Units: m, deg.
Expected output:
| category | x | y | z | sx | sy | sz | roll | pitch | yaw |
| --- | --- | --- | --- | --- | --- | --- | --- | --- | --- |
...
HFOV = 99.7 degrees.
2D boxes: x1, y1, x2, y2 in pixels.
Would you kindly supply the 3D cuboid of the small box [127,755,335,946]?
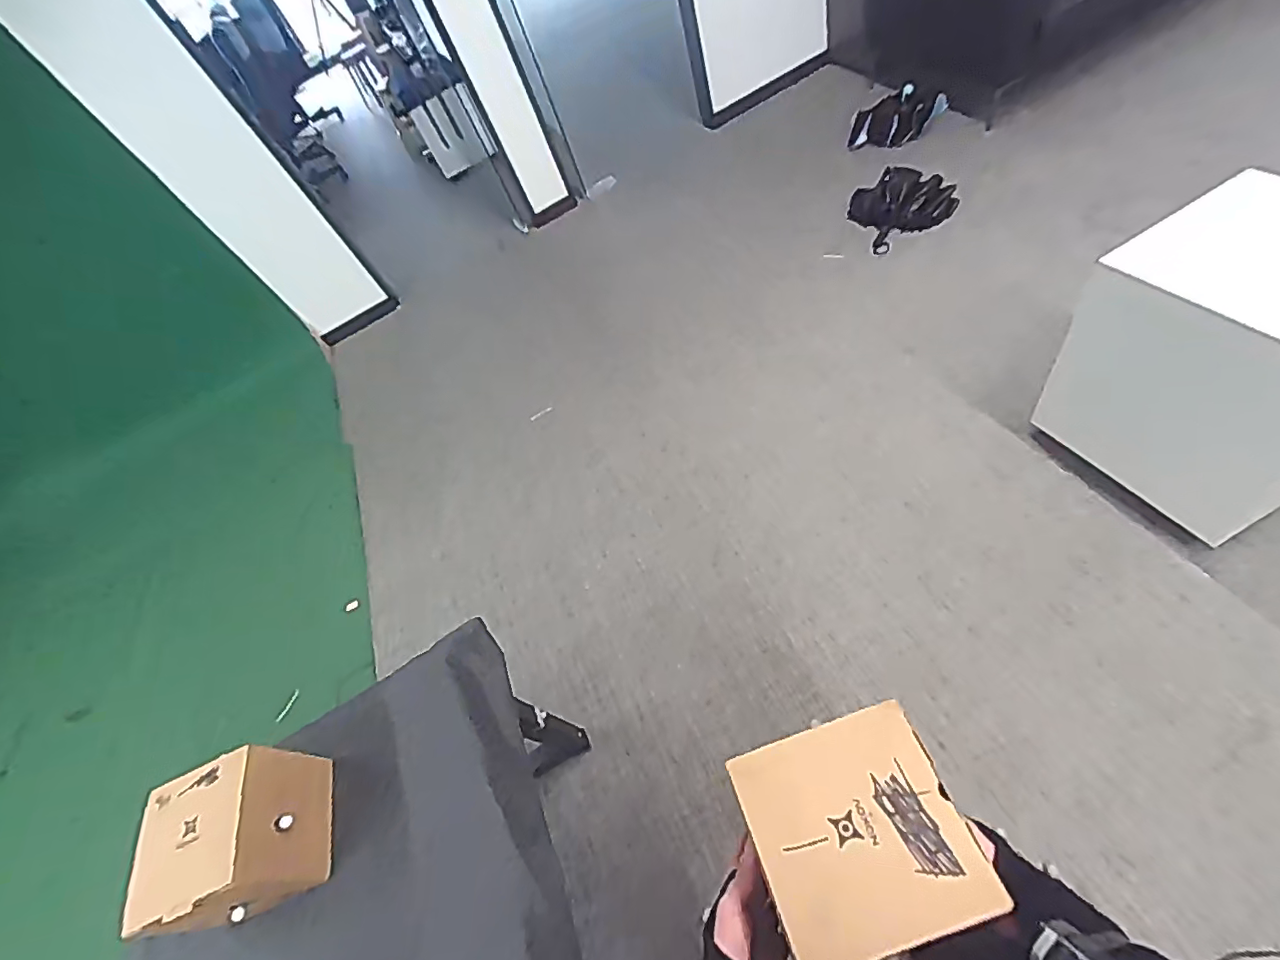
| category | x | y | z | sx | sy | sz | roll | pitch | yaw |
| --- | --- | --- | --- | --- | --- | --- | --- | --- | --- |
| small box | -0.575 | 0.531 | 0.789 | 0.168 | 0.176 | 0.179 | -26 | 52 | 1 |
